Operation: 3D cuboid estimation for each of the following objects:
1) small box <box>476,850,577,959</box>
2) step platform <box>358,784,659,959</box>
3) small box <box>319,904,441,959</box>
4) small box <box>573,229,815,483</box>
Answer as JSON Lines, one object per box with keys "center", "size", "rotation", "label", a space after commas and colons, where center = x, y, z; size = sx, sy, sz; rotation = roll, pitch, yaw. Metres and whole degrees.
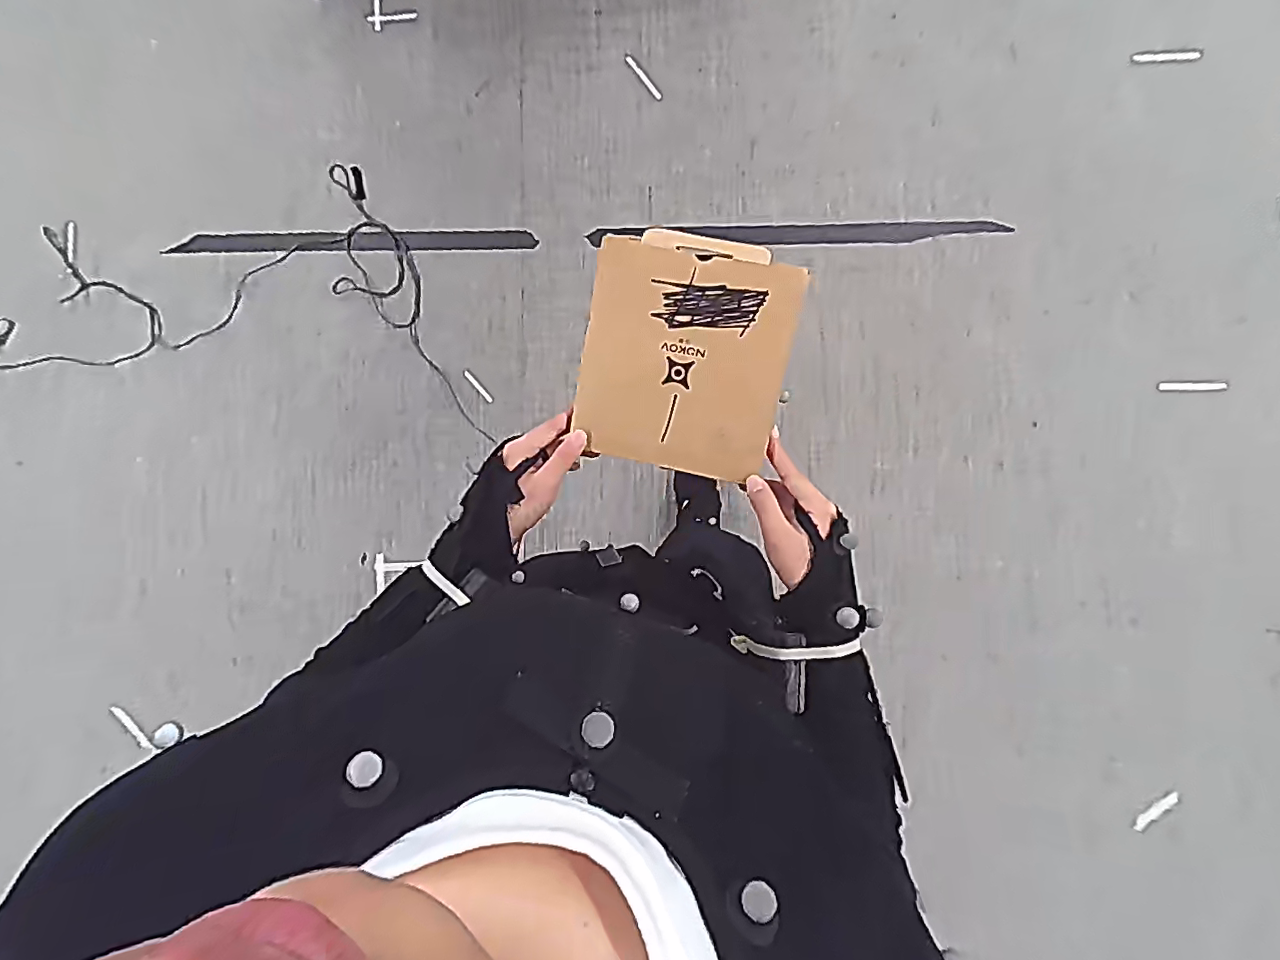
{"center": [-0.225, 0.900, 1.100], "size": [0.168, 0.176, 0.179], "rotation": [2, 89, 3], "label": "small box"}
{"center": [-0.298, 0.921, 1.278], "size": [0.684, 0.204, 0.286], "rotation": [0, 89, 3], "label": "step platform"}
{"center": [-0.469, 0.893, 0.952], "size": [0.179, 0.176, 0.168], "rotation": [3, 89, 4], "label": "small box"}
{"center": [0.050, -0.109, 0.510], "size": [0.168, 0.176, 0.179], "rotation": [13, 100, 7], "label": "small box"}
